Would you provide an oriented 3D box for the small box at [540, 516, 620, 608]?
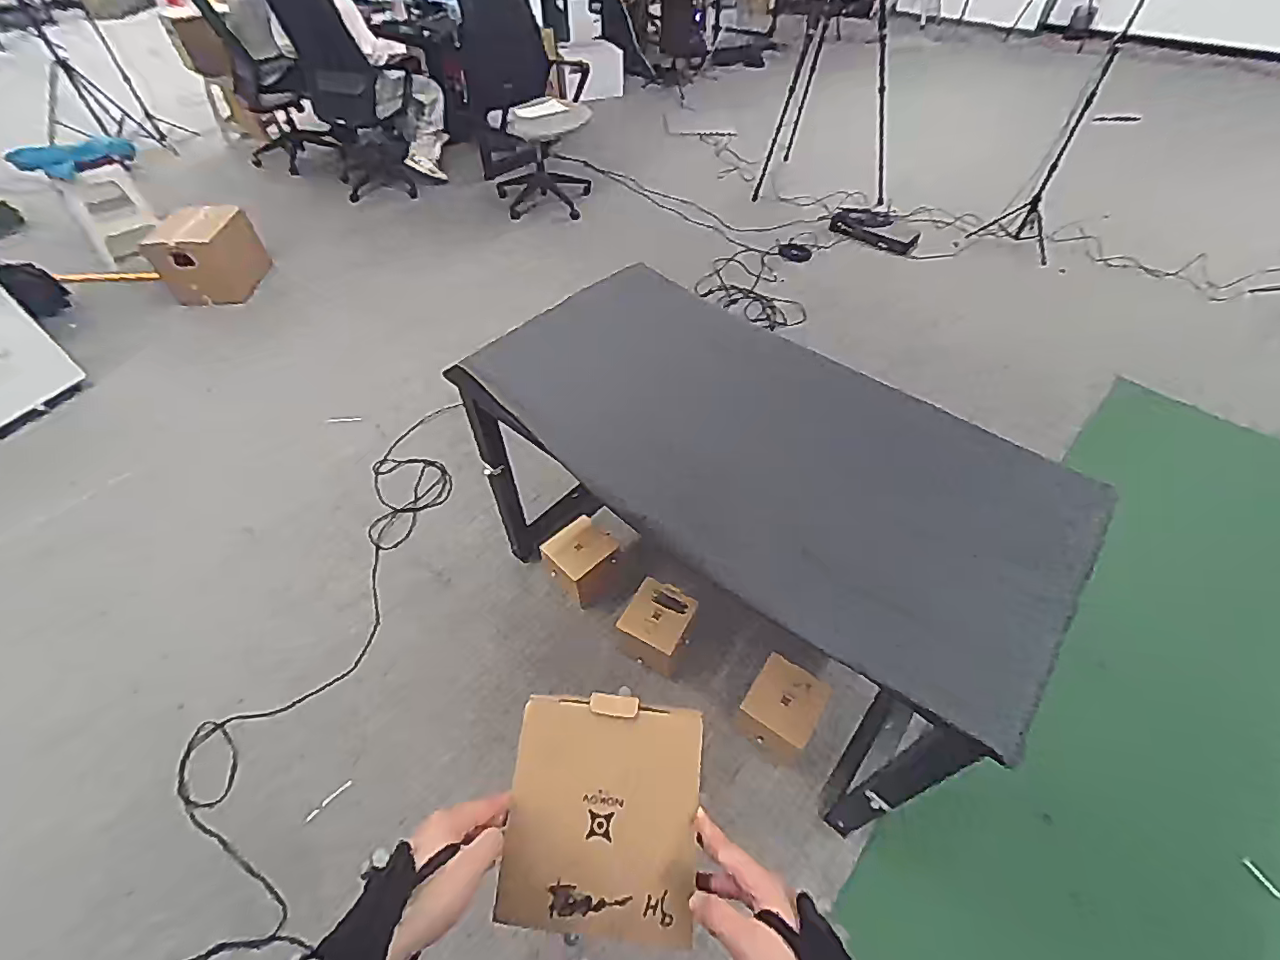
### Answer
[{"bbox_3d":[-0.173,0.251,1.630,0.179,0.176,0.168,-36,58,-28],"label":"small box"}]

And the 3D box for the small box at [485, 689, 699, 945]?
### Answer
[{"bbox_3d":[-0.034,0.310,0.538,0.168,0.176,0.179,4,69,5],"label":"small box"}]

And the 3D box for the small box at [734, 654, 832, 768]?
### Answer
[{"bbox_3d":[0.347,0.577,1.340,0.168,0.176,0.179,30,55,23],"label":"small box"}]
